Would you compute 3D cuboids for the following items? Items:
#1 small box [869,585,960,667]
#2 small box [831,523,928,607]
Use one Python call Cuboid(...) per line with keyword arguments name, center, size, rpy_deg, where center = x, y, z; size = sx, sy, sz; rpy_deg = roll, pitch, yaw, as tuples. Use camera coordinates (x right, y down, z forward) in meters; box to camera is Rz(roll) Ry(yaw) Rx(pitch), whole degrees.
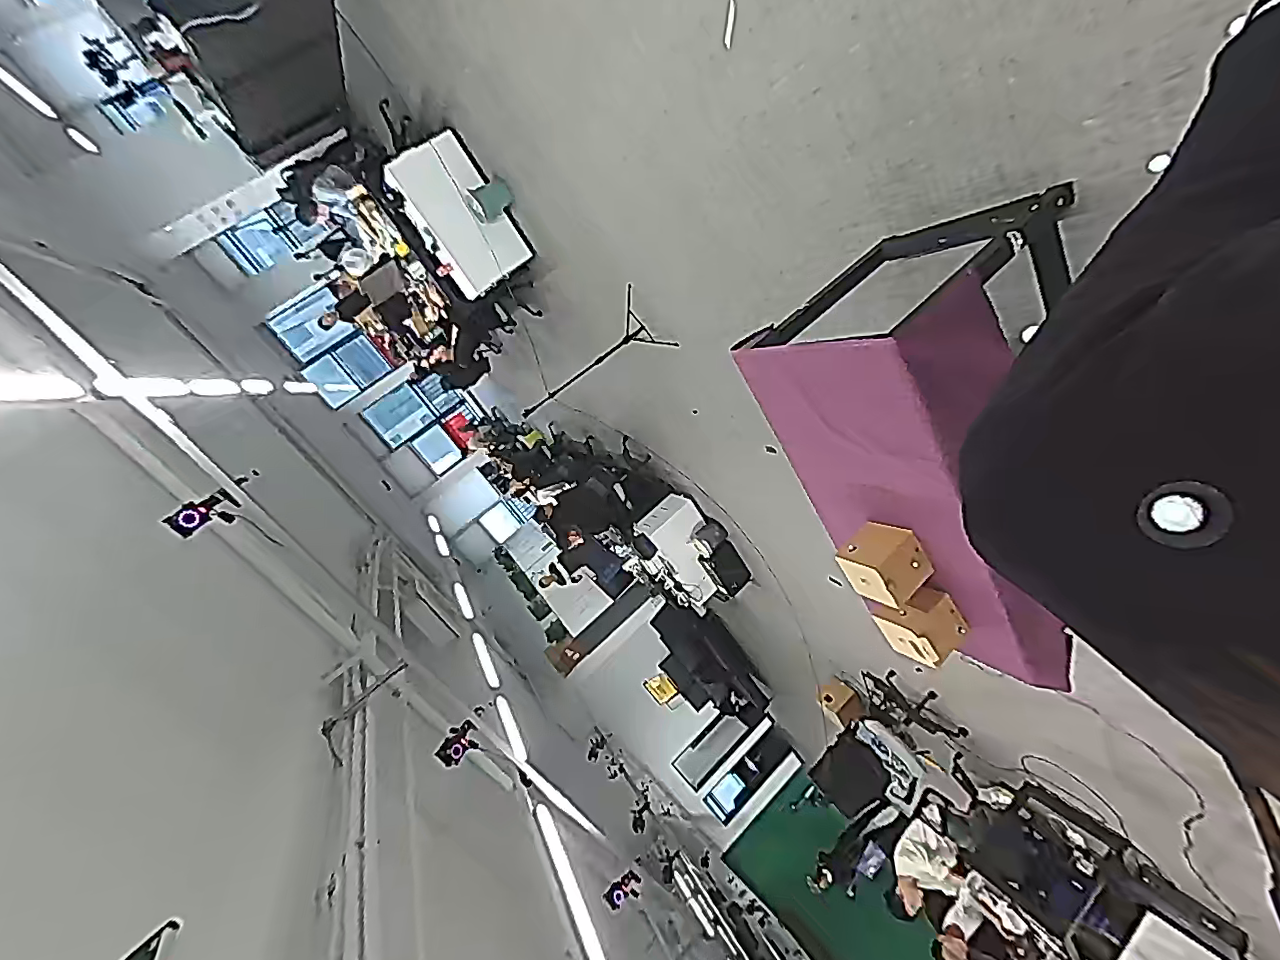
Cuboid(name="small box", center=(0.876, 0.451, 1.713), size=(0.168, 0.176, 0.179), rpy_deg=(54, 166, -14))
Cuboid(name="small box", center=(0.730, 0.251, 1.645), size=(0.168, 0.176, 0.179), rpy_deg=(54, 165, -18))
